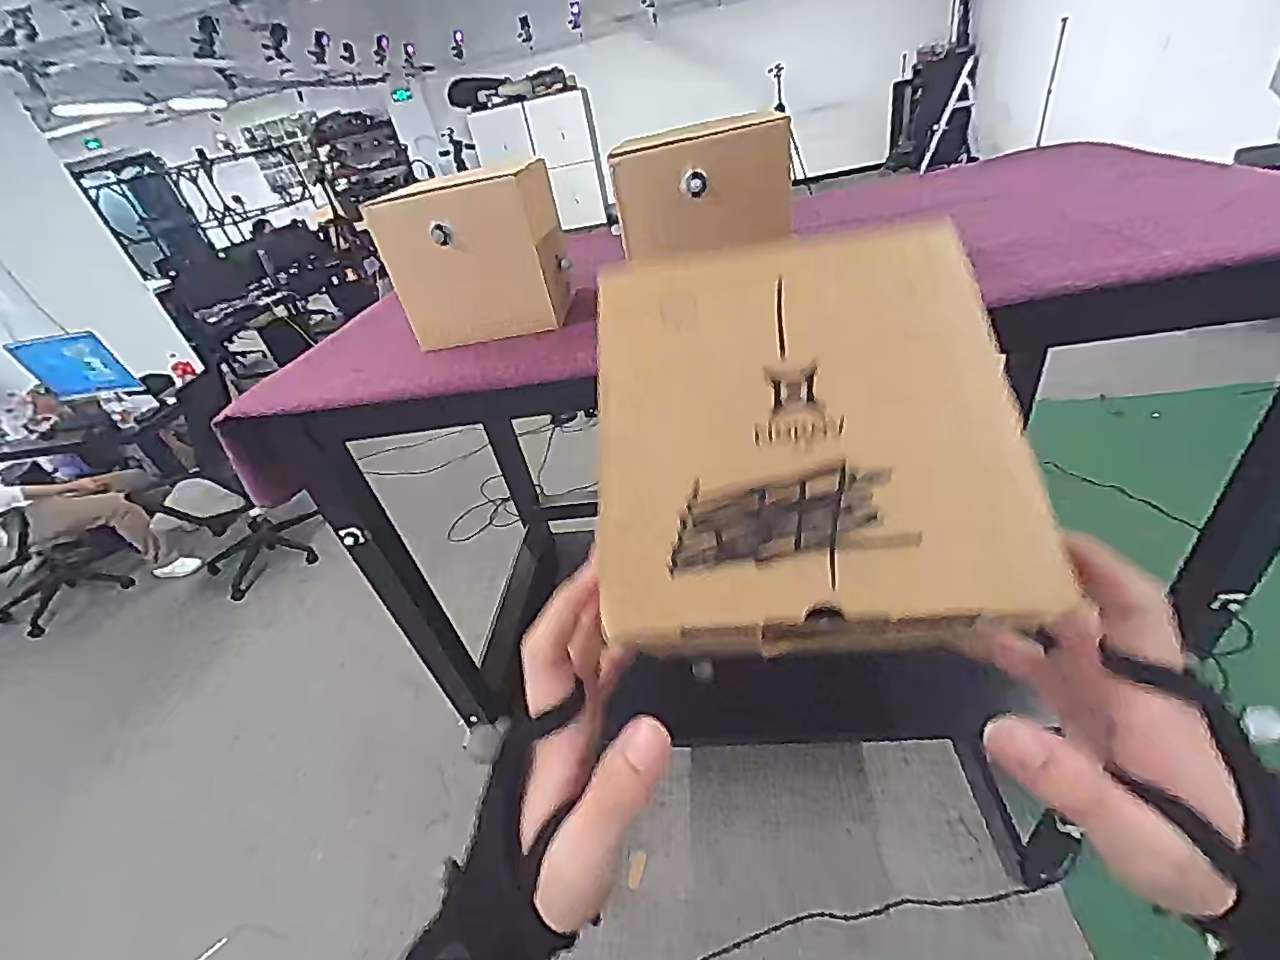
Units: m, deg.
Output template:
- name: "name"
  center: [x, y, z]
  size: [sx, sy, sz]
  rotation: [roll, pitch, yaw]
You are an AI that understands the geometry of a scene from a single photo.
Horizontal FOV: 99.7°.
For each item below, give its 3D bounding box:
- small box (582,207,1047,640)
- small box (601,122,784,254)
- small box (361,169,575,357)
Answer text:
- name: "small box"
  center: [0.069, -0.006, 0.296]
  size: [0.168, 0.176, 0.179]
  rotation: [-5, 70, 7]
- name: "small box"
  center: [0.068, -0.290, 0.617]
  size: [0.179, 0.176, 0.168]
  rotation: [-6, 35, 10]
- name: "small box"
  center: [-0.194, -0.266, 0.670]
  size: [0.179, 0.176, 0.168]
  rotation: [-8, 36, 8]
